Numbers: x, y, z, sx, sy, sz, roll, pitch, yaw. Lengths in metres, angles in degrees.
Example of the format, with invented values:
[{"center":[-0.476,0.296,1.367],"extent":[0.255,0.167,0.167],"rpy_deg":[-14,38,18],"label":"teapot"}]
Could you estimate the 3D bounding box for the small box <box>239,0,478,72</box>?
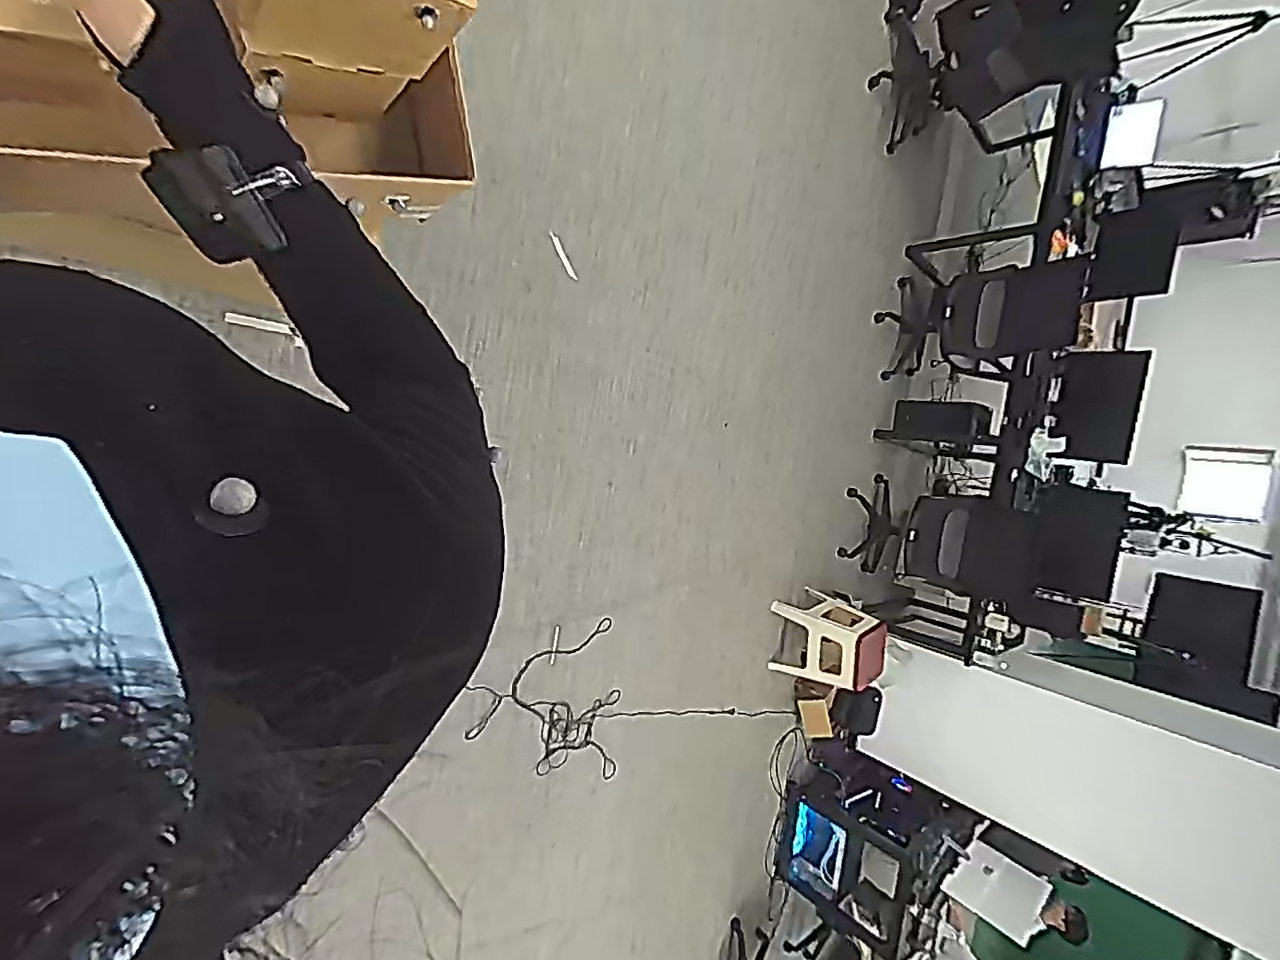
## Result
[{"center":[-0.276,-0.522,0.503],"extent":[0.179,0.176,0.168],"rpy_deg":[-15,108,-40],"label":"small box"}]
